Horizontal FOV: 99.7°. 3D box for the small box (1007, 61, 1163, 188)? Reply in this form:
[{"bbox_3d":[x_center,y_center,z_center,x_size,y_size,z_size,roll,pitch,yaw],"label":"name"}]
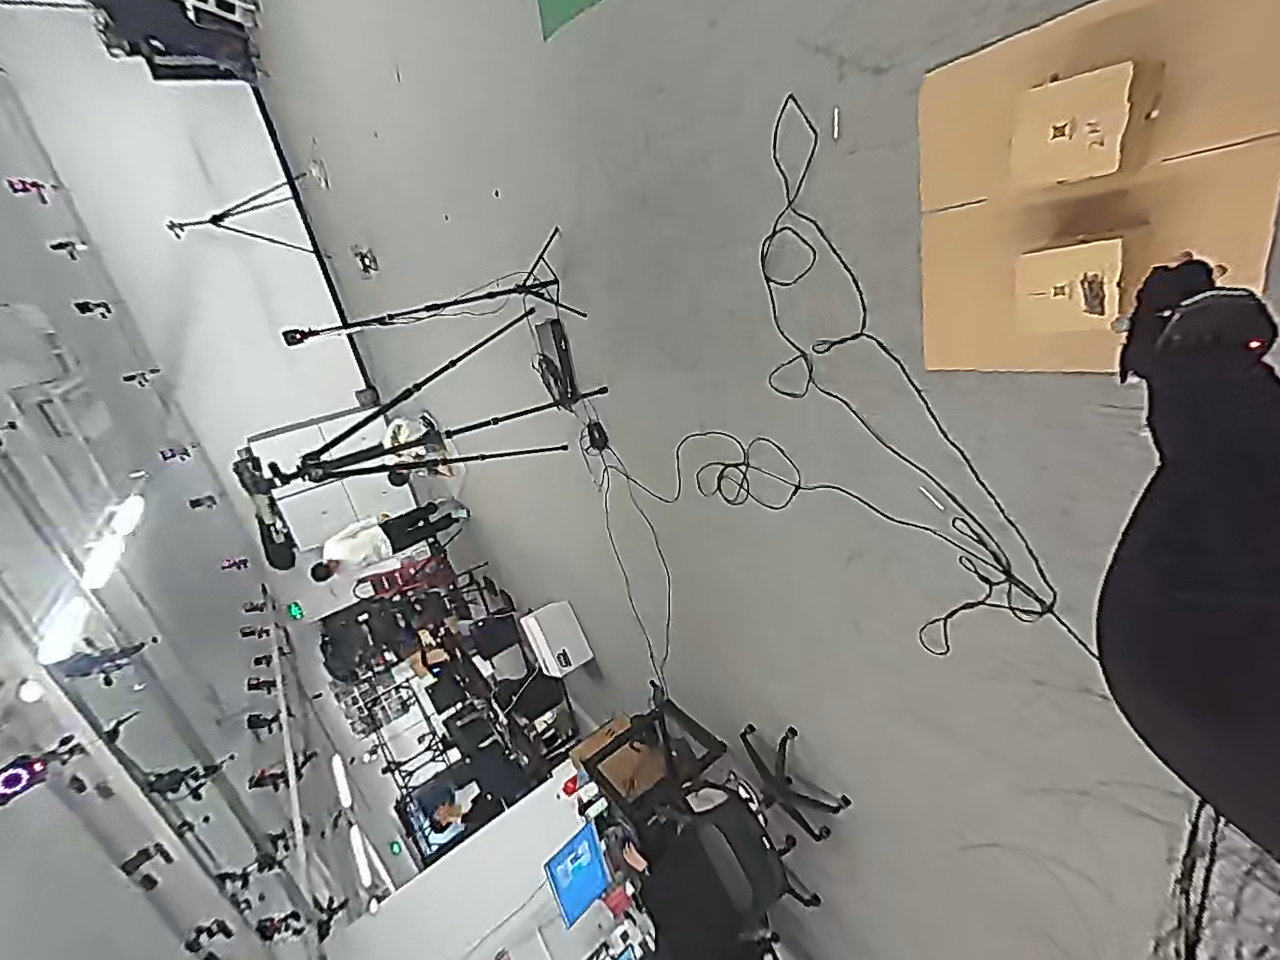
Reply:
[{"bbox_3d":[0.833,-0.662,1.020,0.179,0.176,0.168,21,129,49],"label":"small box"}]

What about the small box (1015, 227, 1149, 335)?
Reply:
[{"bbox_3d":[0.898,-0.403,1.102,0.179,0.176,0.168,13,123,54],"label":"small box"}]
